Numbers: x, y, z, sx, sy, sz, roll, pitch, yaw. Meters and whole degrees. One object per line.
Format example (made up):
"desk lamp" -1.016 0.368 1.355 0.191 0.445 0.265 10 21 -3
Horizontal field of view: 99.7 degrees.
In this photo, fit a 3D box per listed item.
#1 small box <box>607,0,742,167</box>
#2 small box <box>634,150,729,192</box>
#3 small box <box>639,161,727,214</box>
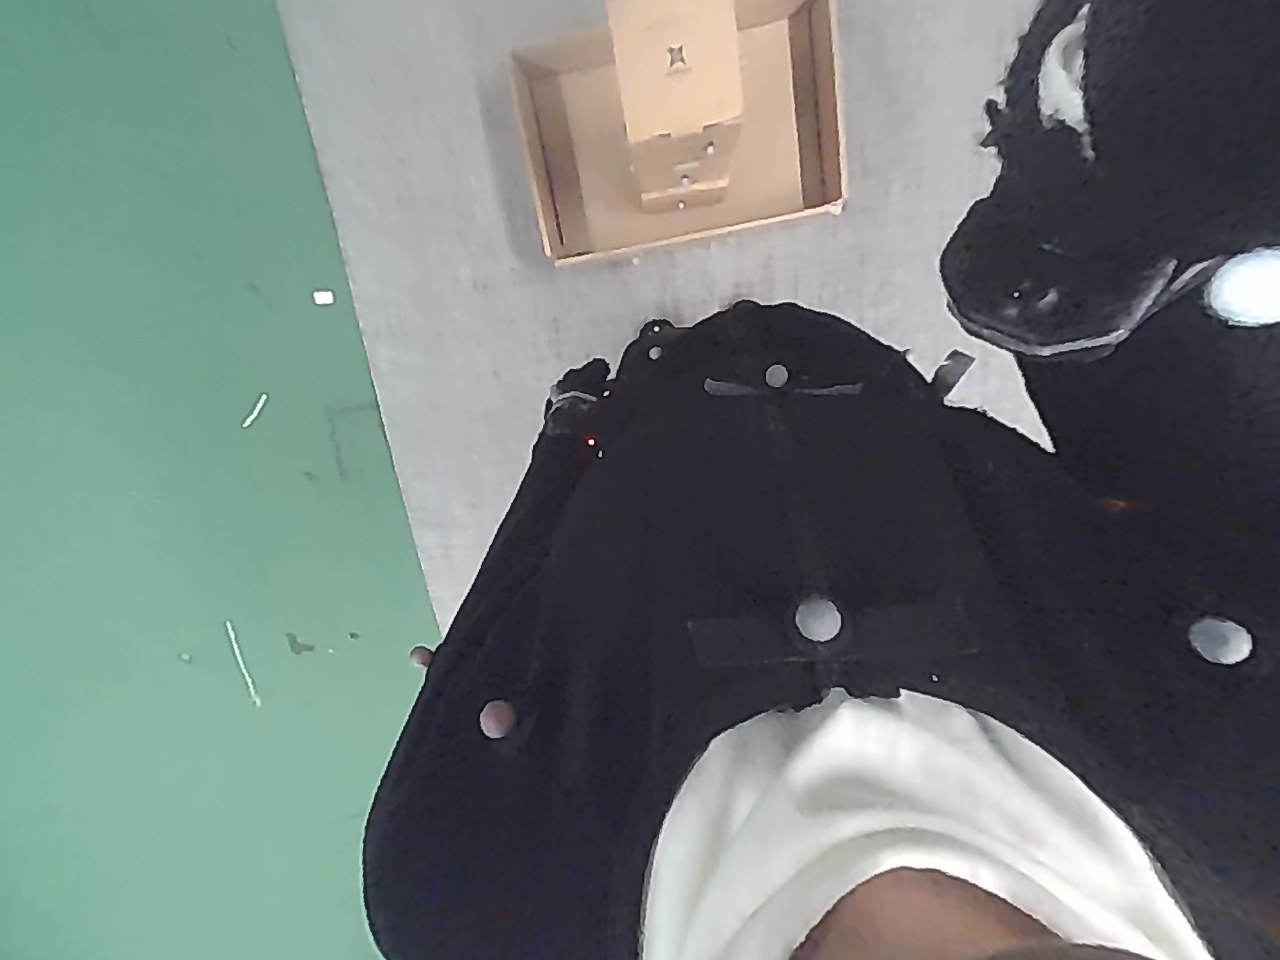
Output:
"small box" 0.053 -0.588 0.806 0.168 0.176 0.179 -8 105 5
"small box" 0.065 -0.642 0.980 0.168 0.176 0.179 -10 105 8
"small box" 0.083 -0.673 1.136 0.179 0.176 0.168 -5 105 6
